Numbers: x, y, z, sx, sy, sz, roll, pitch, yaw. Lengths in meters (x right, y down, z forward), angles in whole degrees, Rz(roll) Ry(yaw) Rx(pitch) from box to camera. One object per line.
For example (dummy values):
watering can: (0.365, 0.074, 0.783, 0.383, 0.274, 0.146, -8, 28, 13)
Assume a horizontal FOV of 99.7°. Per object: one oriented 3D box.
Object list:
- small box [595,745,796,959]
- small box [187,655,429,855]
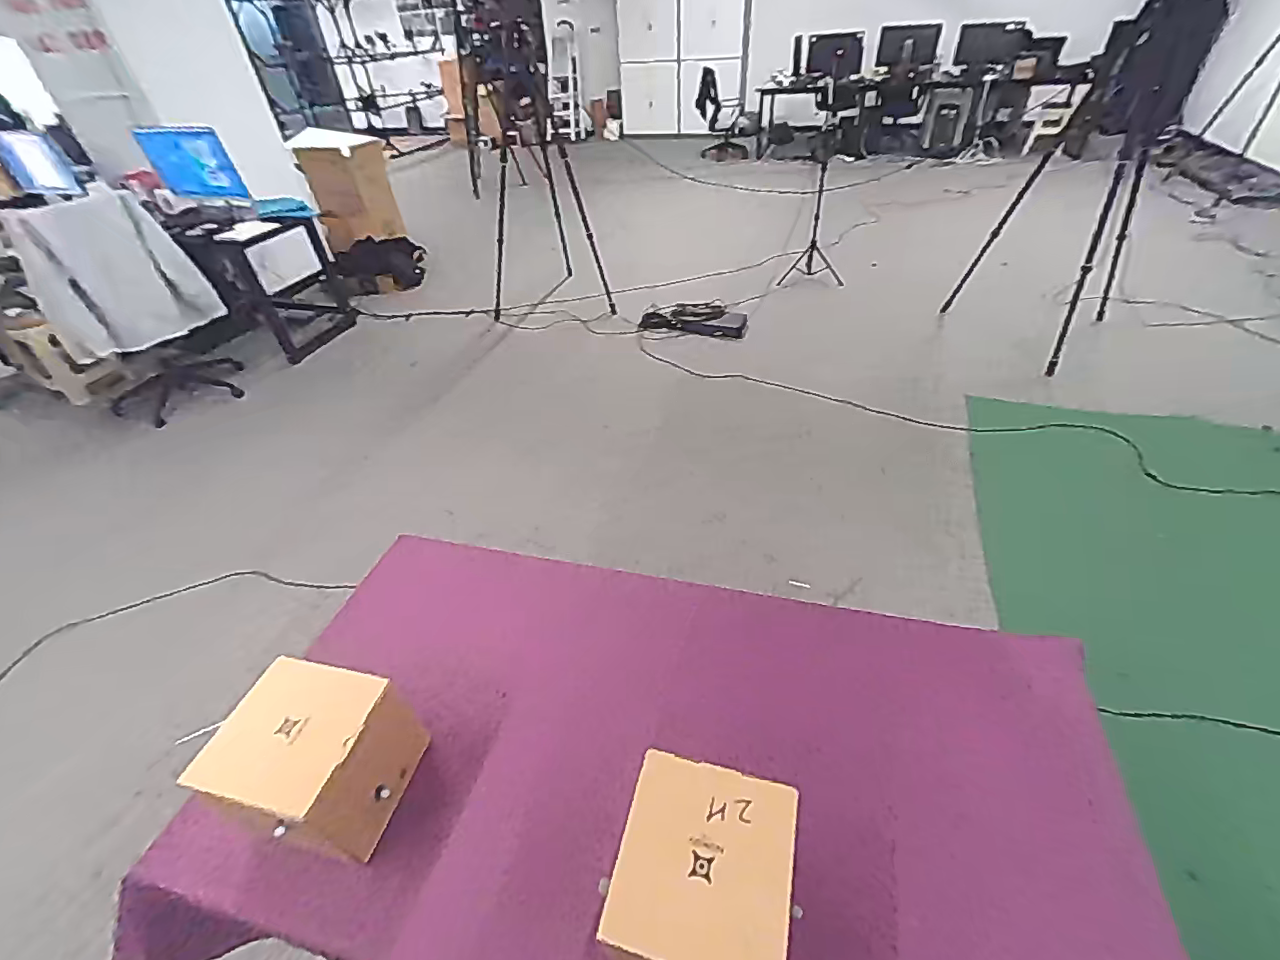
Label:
small box: (0.067, 0.425, 0.577, 0.168, 0.176, 0.179, 9, 42, 15)
small box: (-0.414, 0.359, 0.708, 0.179, 0.176, 0.168, 7, 41, 12)
